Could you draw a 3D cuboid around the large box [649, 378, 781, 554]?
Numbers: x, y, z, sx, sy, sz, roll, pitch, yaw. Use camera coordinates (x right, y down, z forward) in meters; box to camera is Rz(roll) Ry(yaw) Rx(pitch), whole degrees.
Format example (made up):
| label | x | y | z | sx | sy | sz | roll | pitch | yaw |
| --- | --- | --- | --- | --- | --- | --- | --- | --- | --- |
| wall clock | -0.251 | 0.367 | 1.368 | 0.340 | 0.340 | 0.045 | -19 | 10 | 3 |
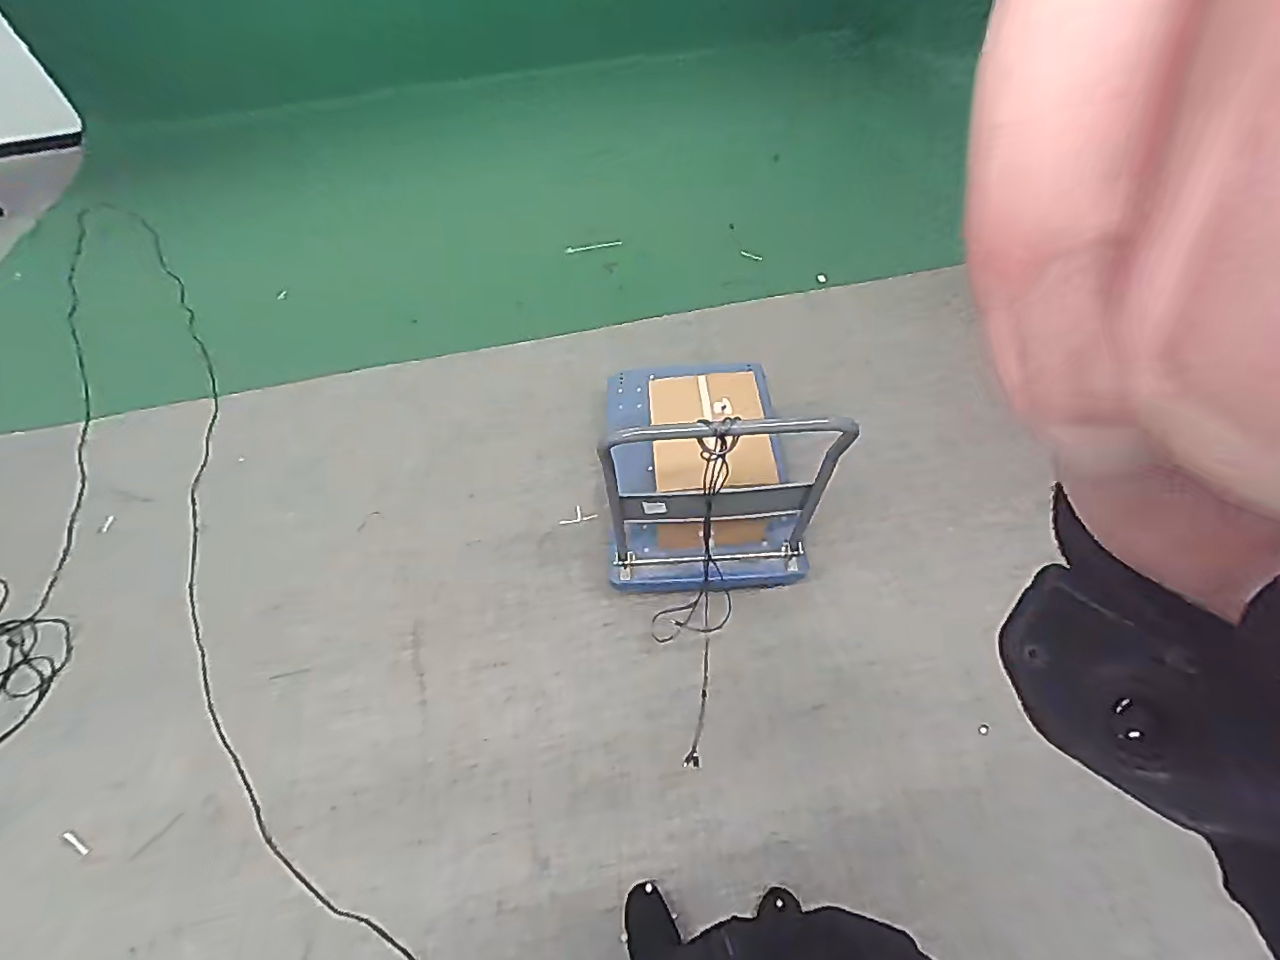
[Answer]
| label | x | y | z | sx | sy | sz | roll | pitch | yaw |
| --- | --- | --- | --- | --- | --- | --- | --- | --- | --- |
| large box | 0.202 | -0.037 | 1.583 | 0.320 | 0.320 | 0.408 | -4 | 54 | 1 |
